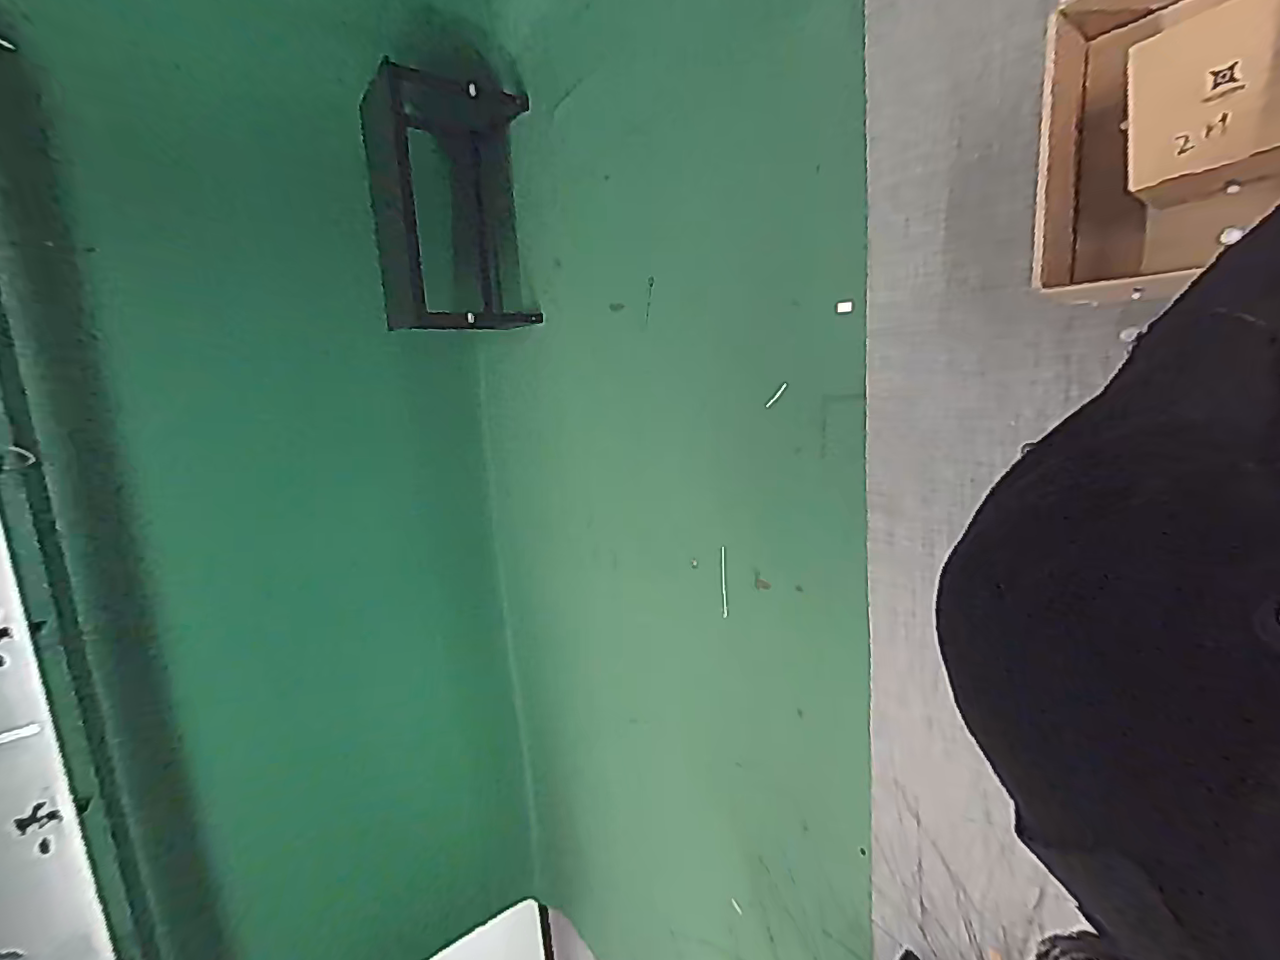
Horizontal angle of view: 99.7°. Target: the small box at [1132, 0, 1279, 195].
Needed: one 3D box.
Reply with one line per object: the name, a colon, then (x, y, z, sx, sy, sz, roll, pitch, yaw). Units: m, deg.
small box: (0.732, -0.477, 0.660, 0.168, 0.176, 0.179, 4, 102, 54)
